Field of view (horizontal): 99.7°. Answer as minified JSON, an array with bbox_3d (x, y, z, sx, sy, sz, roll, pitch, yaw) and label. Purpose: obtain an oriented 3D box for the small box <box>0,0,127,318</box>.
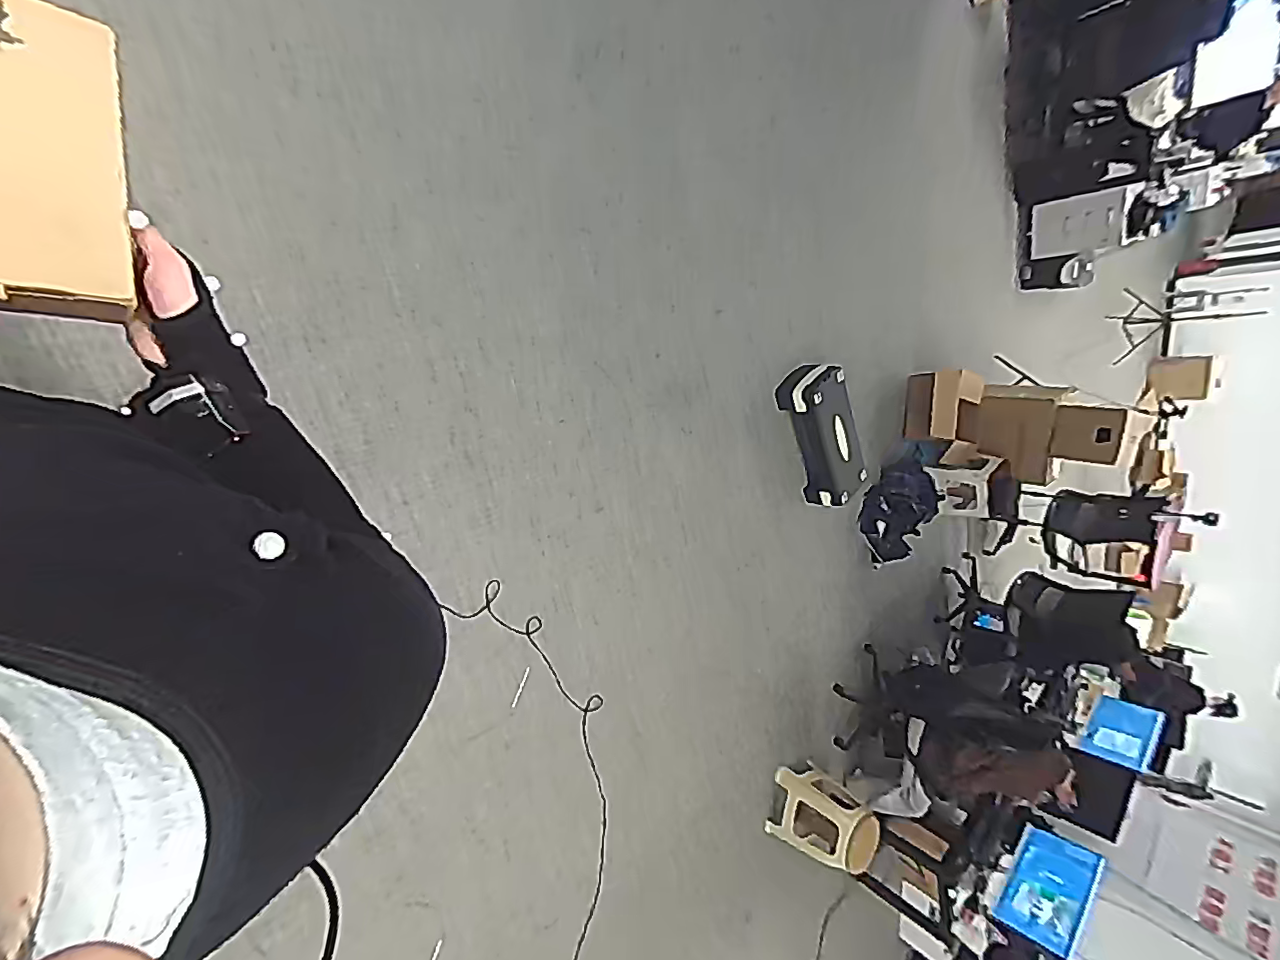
[{"bbox_3d":[-0.451,-0.207,0.349,0.168,0.176,0.179,-5,101,-46],"label":"small box"}]
